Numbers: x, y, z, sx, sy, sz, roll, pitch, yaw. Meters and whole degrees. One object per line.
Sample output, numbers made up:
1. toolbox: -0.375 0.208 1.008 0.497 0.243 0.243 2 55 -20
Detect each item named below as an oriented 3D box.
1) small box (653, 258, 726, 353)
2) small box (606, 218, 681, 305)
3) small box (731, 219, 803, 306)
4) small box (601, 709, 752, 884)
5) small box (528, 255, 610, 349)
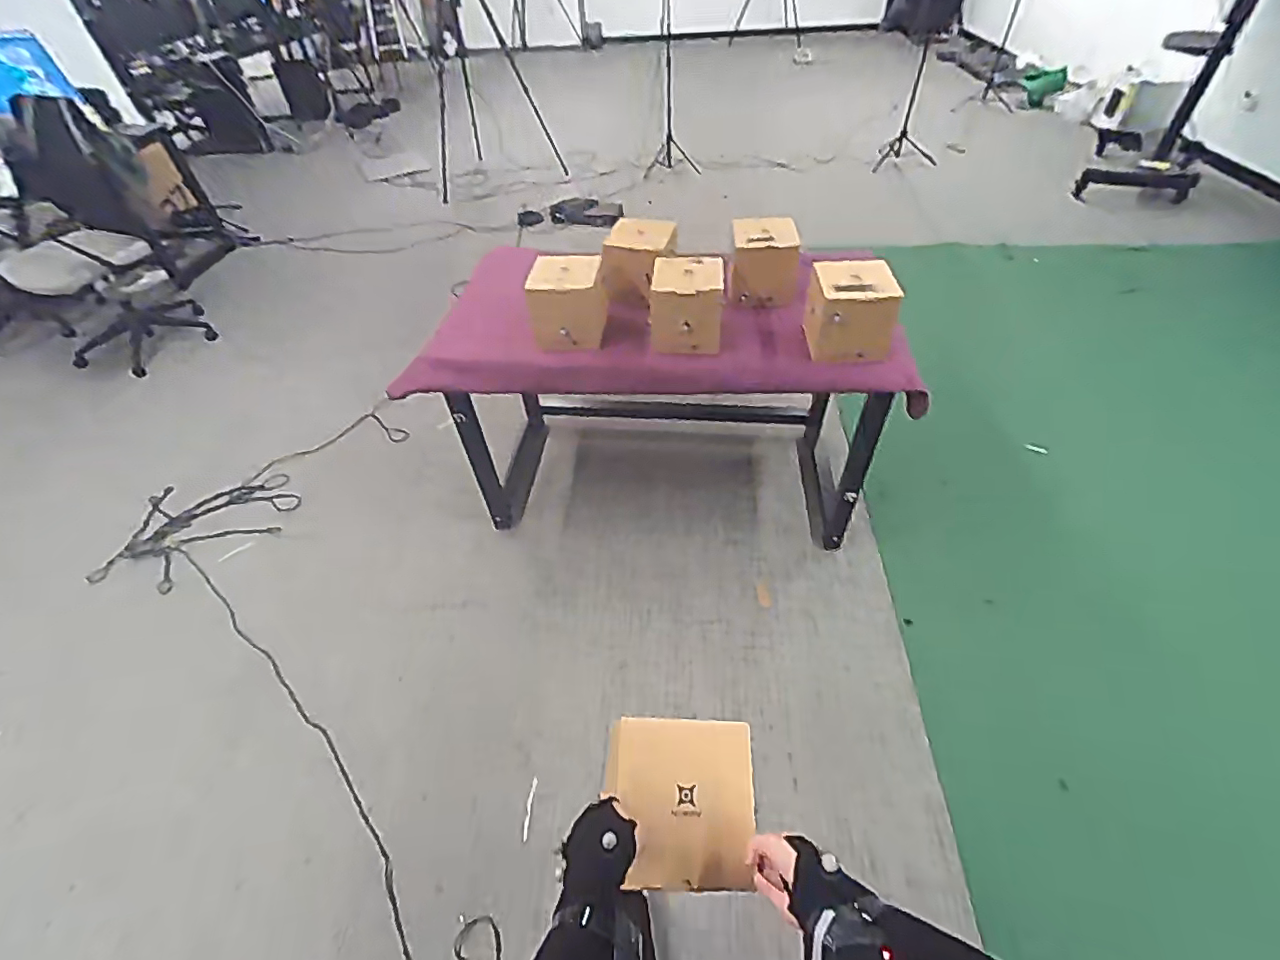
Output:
1. small box: 0.124 -0.427 1.328 0.168 0.176 0.179 3 46 6
2. small box: 0.016 -0.605 1.505 0.168 0.176 0.179 11 48 12
3. small box: 0.339 -0.587 1.467 0.168 0.176 0.179 2 46 4
4. small box: 0.038 0.399 0.702 0.168 0.176 0.179 4 65 -5
5. small box: -0.171 -0.451 1.368 0.168 0.176 0.179 2 47 6
